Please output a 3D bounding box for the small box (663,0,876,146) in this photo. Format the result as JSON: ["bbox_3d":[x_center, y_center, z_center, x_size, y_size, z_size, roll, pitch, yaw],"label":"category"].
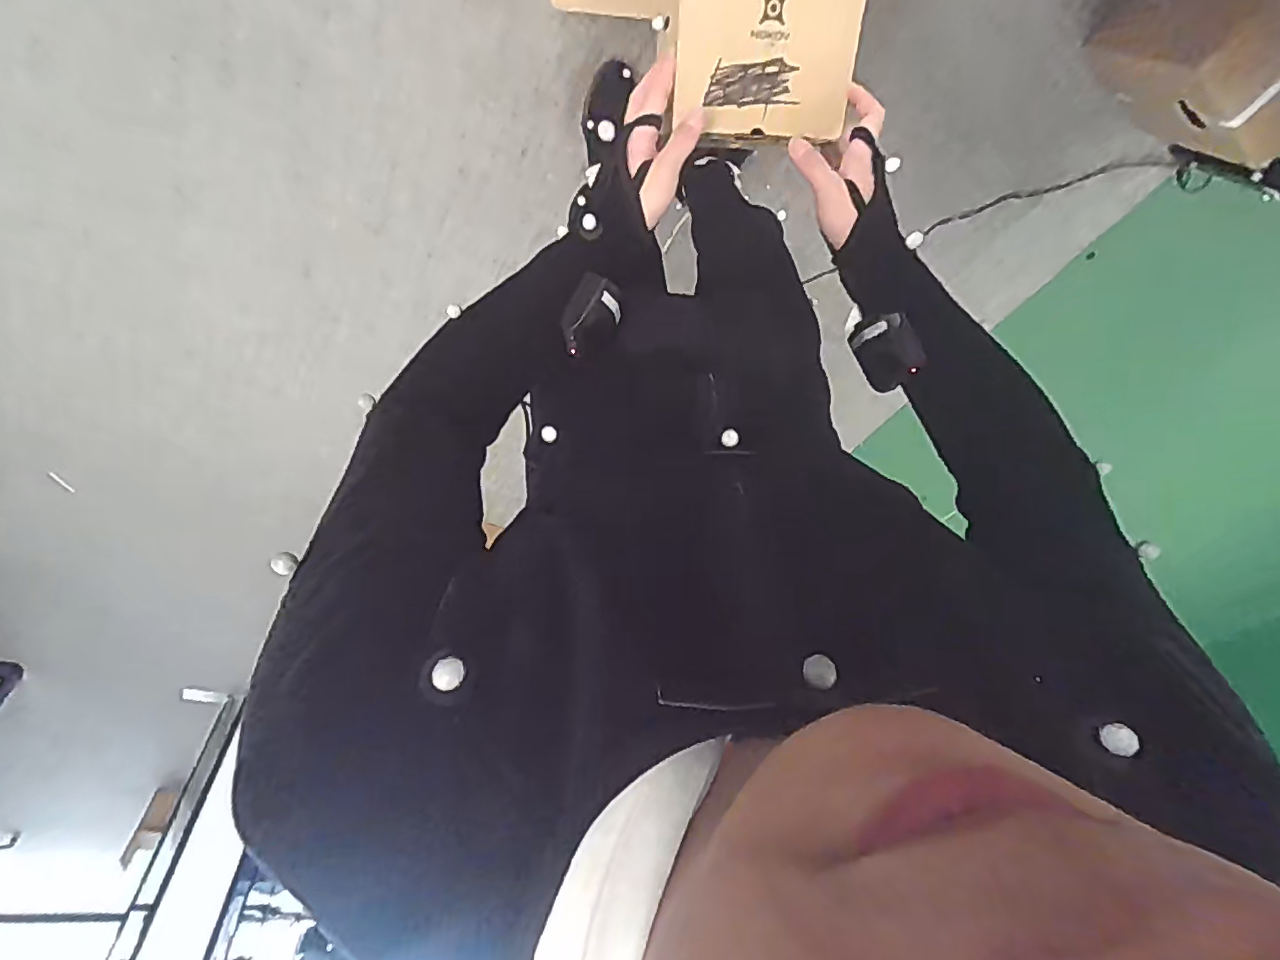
[{"bbox_3d":[0.115,-0.439,0.534,0.168,0.176,0.179,0,119,-5],"label":"small box"}]
